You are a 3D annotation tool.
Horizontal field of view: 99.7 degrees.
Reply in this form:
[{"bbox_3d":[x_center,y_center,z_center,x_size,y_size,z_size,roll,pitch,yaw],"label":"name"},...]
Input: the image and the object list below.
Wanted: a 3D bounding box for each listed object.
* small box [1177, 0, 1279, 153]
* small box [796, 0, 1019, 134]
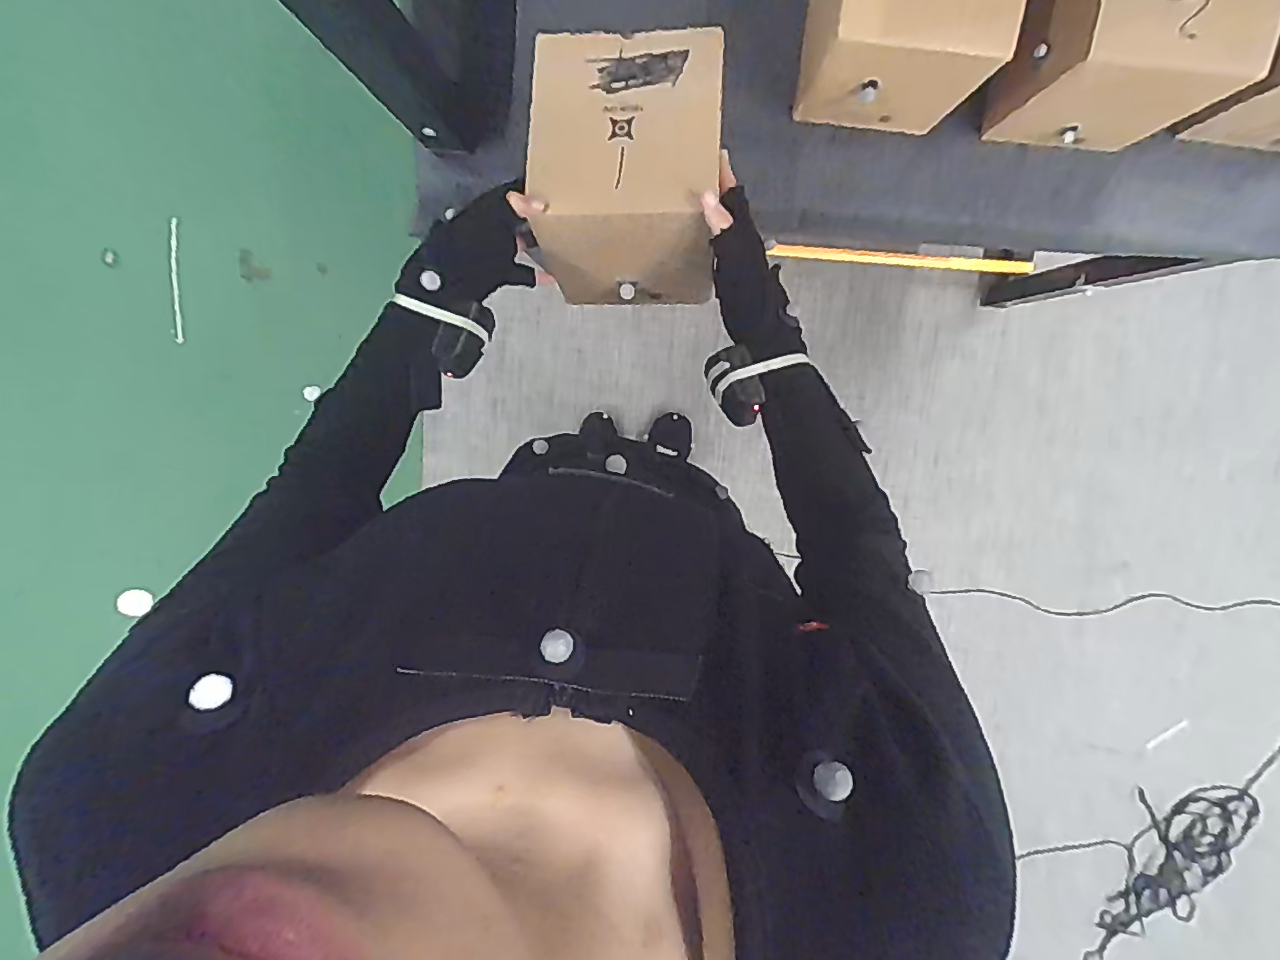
[{"bbox_3d":[0.722,-0.463,0.552,0.168,0.176,0.179,8,100,0],"label":"small box"},{"bbox_3d":[0.270,-0.493,0.561,0.168,0.176,0.179,7,100,1],"label":"small box"}]
